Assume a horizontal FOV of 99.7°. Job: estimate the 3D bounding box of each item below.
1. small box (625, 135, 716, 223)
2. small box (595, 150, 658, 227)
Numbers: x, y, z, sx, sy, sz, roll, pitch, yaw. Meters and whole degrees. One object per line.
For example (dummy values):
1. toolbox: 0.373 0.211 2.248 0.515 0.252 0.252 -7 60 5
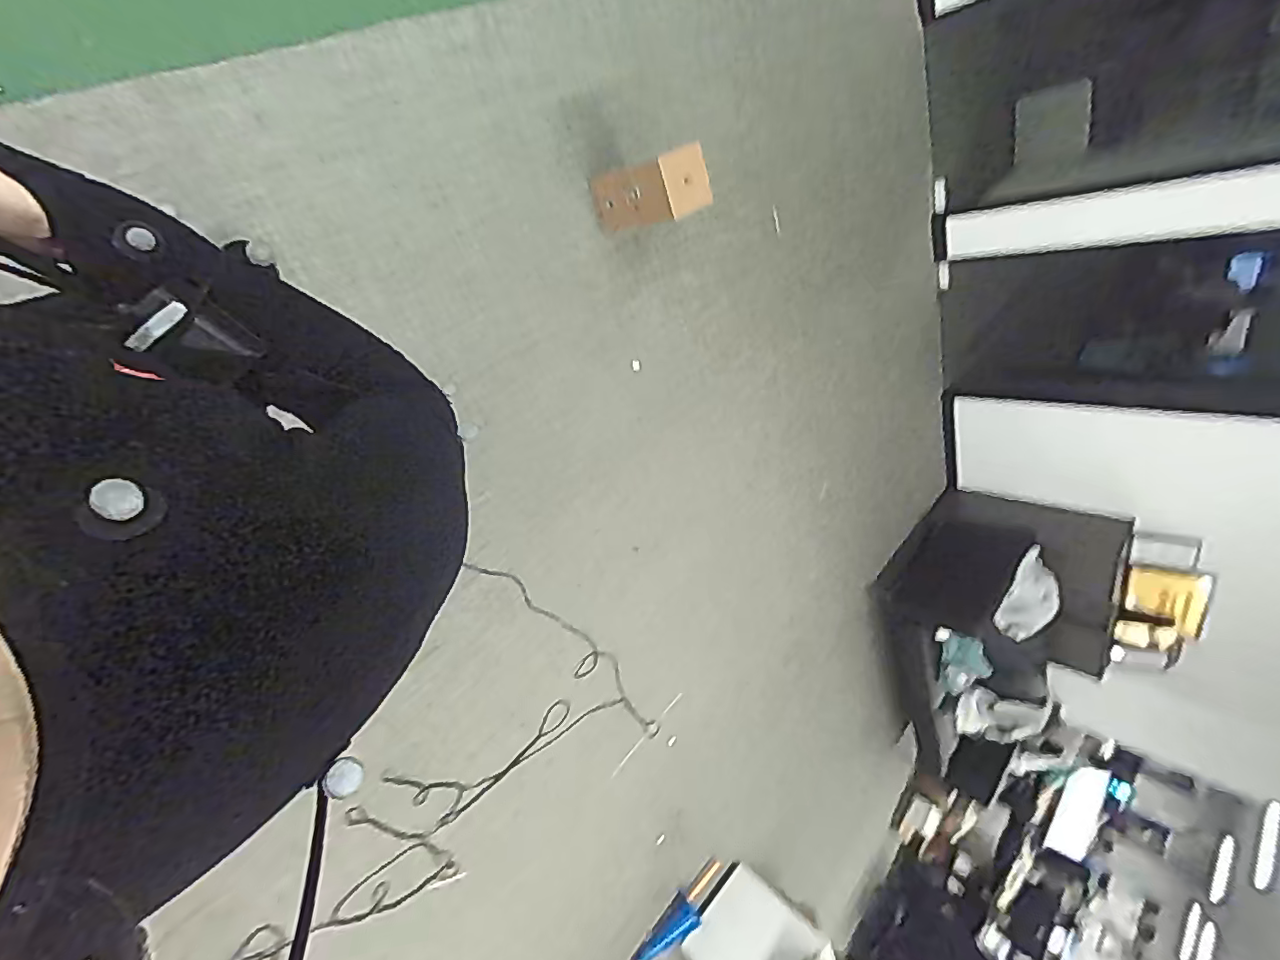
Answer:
1. small box: 0.087 -0.863 1.559 0.179 0.176 0.168 -38 123 -27
2. small box: -0.019 -0.899 1.677 0.179 0.176 0.168 -35 123 -29
